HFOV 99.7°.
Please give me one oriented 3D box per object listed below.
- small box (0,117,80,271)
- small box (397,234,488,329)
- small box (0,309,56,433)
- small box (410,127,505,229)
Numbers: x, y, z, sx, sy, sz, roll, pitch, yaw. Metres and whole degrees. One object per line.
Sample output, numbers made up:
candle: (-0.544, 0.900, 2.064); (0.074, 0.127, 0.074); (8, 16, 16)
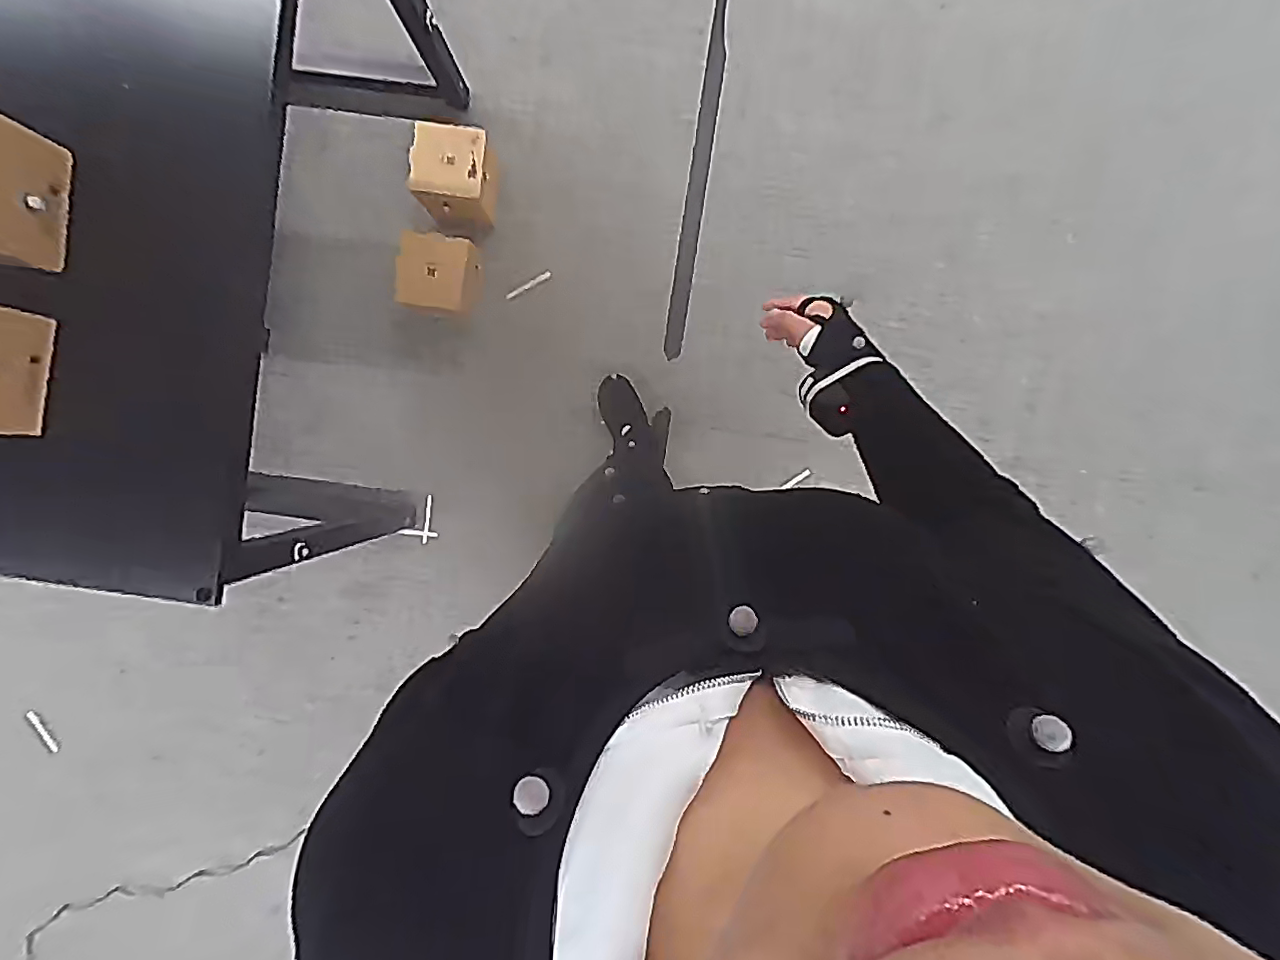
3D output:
small box: (-0.875, -0.376, 0.672); (0.179, 0.176, 0.168); (8, 92, -1)
small box: (-0.501, -0.505, 1.396); (0.168, 0.176, 0.179); (8, 93, 1)
small box: (-0.911, -0.155, 0.681); (0.179, 0.176, 0.168); (11, 92, 0)
small box: (-0.460, -0.764, 1.383); (0.179, 0.176, 0.168); (7, 93, 0)
